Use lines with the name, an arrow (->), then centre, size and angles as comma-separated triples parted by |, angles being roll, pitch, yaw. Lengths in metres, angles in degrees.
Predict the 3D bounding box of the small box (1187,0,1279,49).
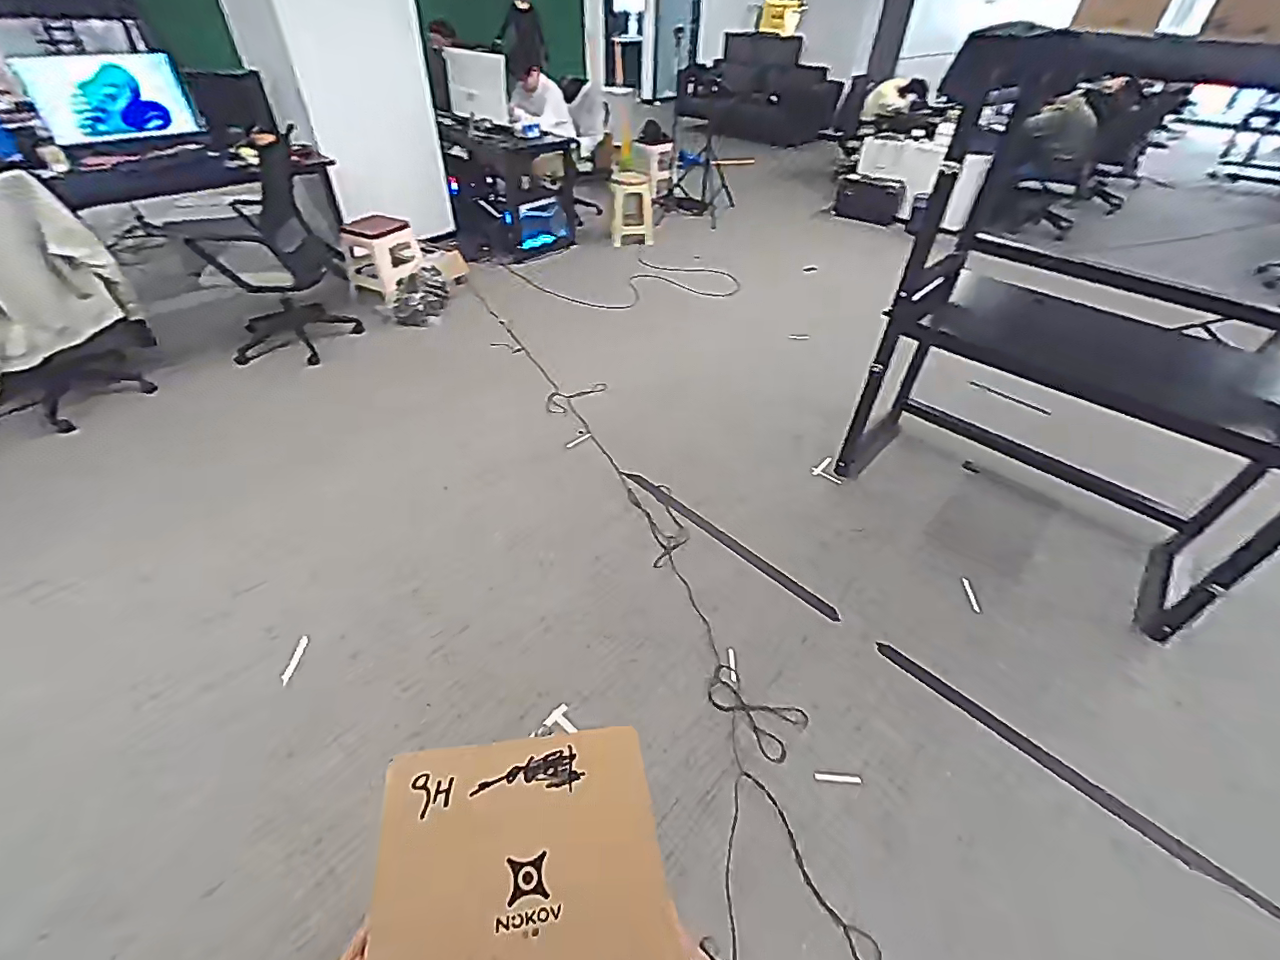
small box -> 1.304, -1.011, 1.128 | 0.168, 0.176, 0.179 | 34, 48, 31

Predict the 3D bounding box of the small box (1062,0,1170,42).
small box -> 1.110, -1.113, 1.235 | 0.168, 0.176, 0.179 | 33, 48, 28

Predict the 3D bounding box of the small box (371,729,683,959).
small box -> -0.077, 0.291, 0.359 | 0.168, 0.176, 0.179 | 2, 46, -16
